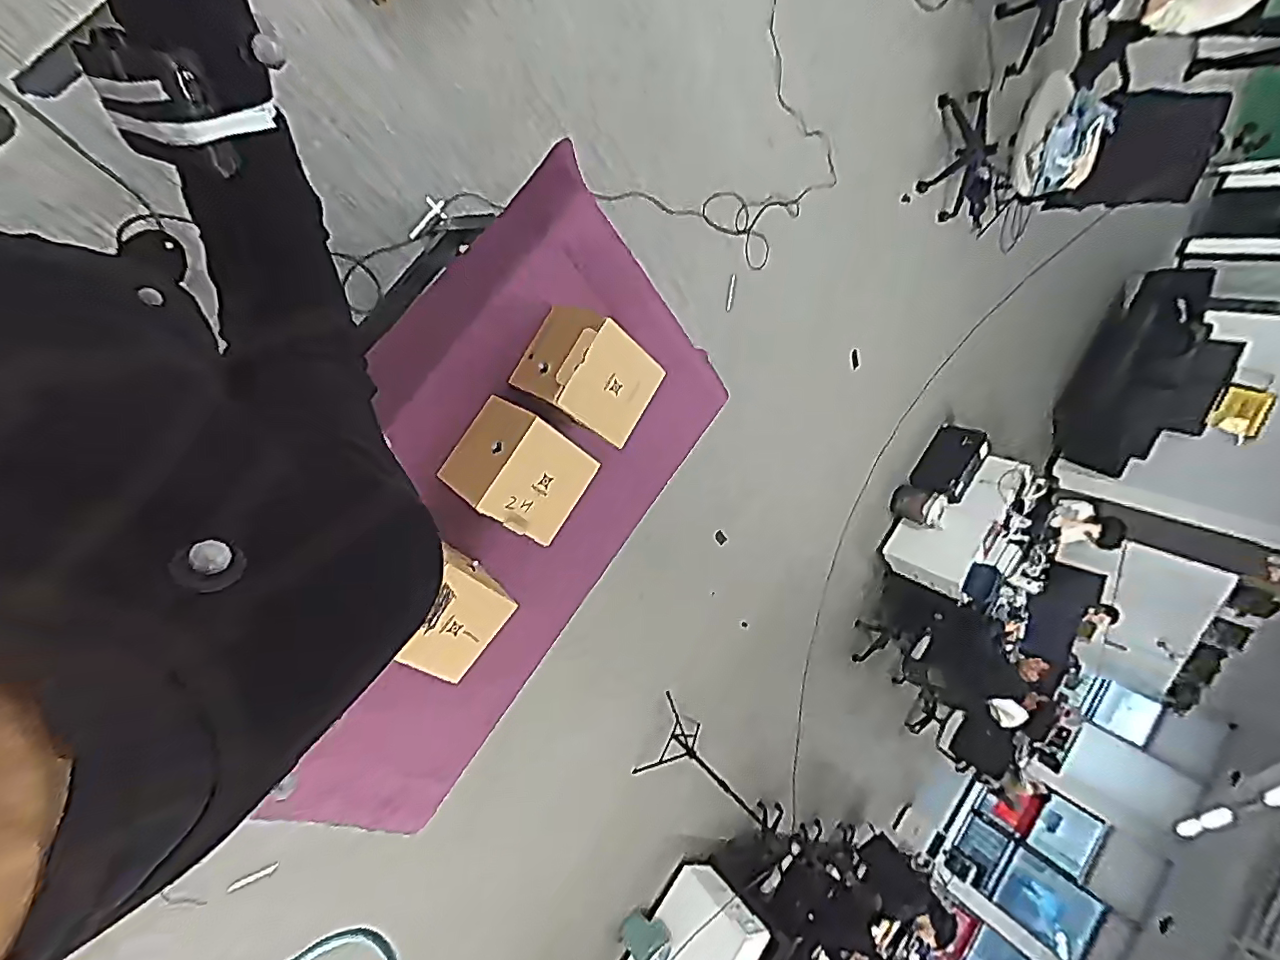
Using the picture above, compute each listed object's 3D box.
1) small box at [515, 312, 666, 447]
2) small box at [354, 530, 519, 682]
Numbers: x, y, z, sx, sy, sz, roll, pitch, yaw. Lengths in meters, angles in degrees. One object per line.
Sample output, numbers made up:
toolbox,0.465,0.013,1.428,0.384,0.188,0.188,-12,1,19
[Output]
small box,-0.093,-0.186,0.977,0.179,0.176,0.168,34,86,-45
small box,-0.351,0.207,0.926,0.168,0.176,0.179,-51,134,-11
